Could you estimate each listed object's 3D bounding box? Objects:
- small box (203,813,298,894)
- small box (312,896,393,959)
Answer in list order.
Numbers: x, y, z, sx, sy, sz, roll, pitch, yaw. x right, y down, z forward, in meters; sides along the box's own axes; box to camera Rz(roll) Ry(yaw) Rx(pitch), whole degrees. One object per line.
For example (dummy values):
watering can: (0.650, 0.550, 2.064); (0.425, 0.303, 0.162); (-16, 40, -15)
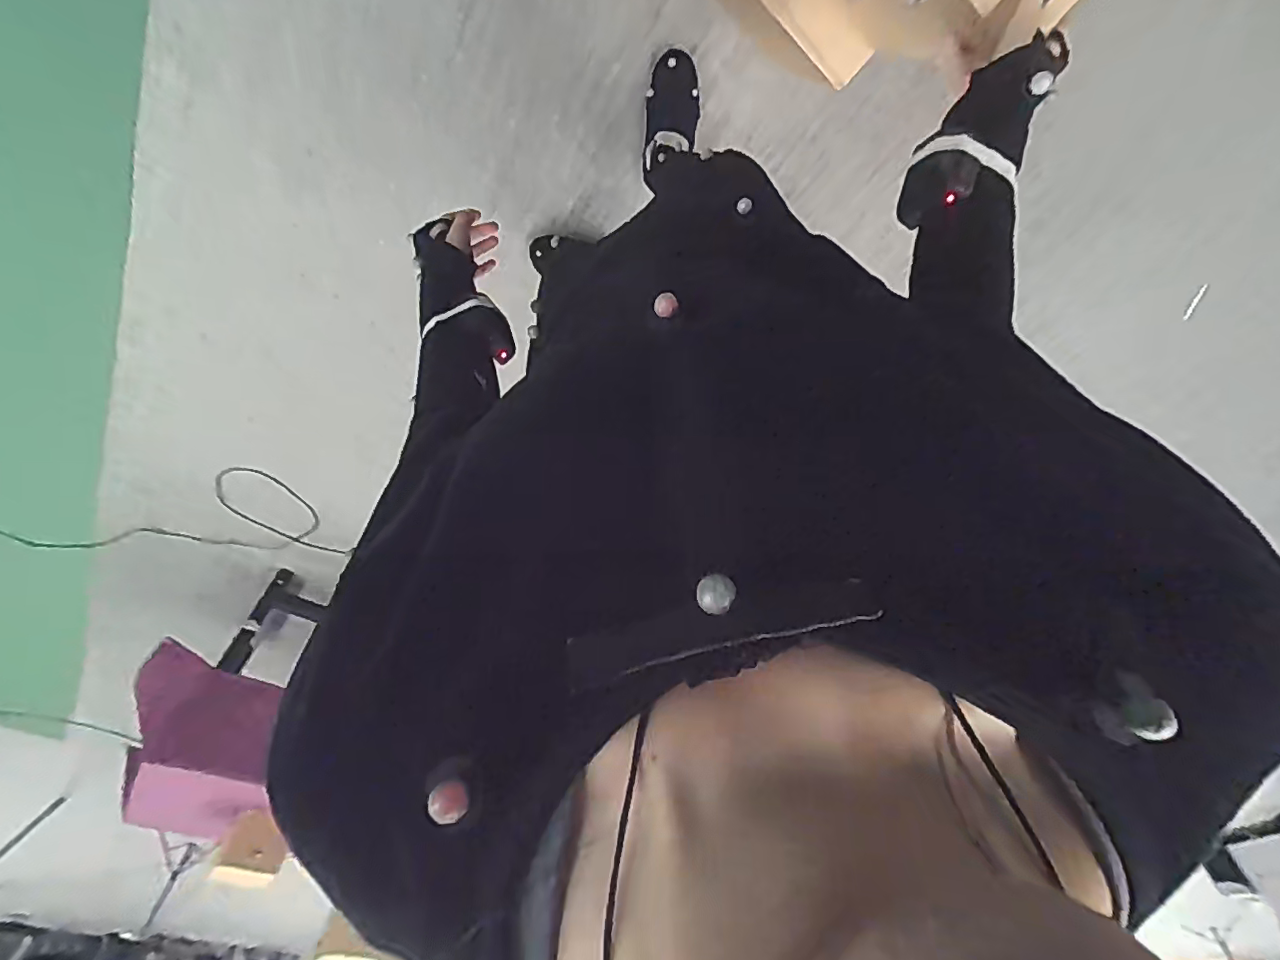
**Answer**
small box: (-1.234, 1.189, 1.724); (0.179, 0.176, 0.168); (32, 122, -23)
small box: (-0.928, 1.476, 1.747); (0.168, 0.176, 0.179); (28, 124, -21)
